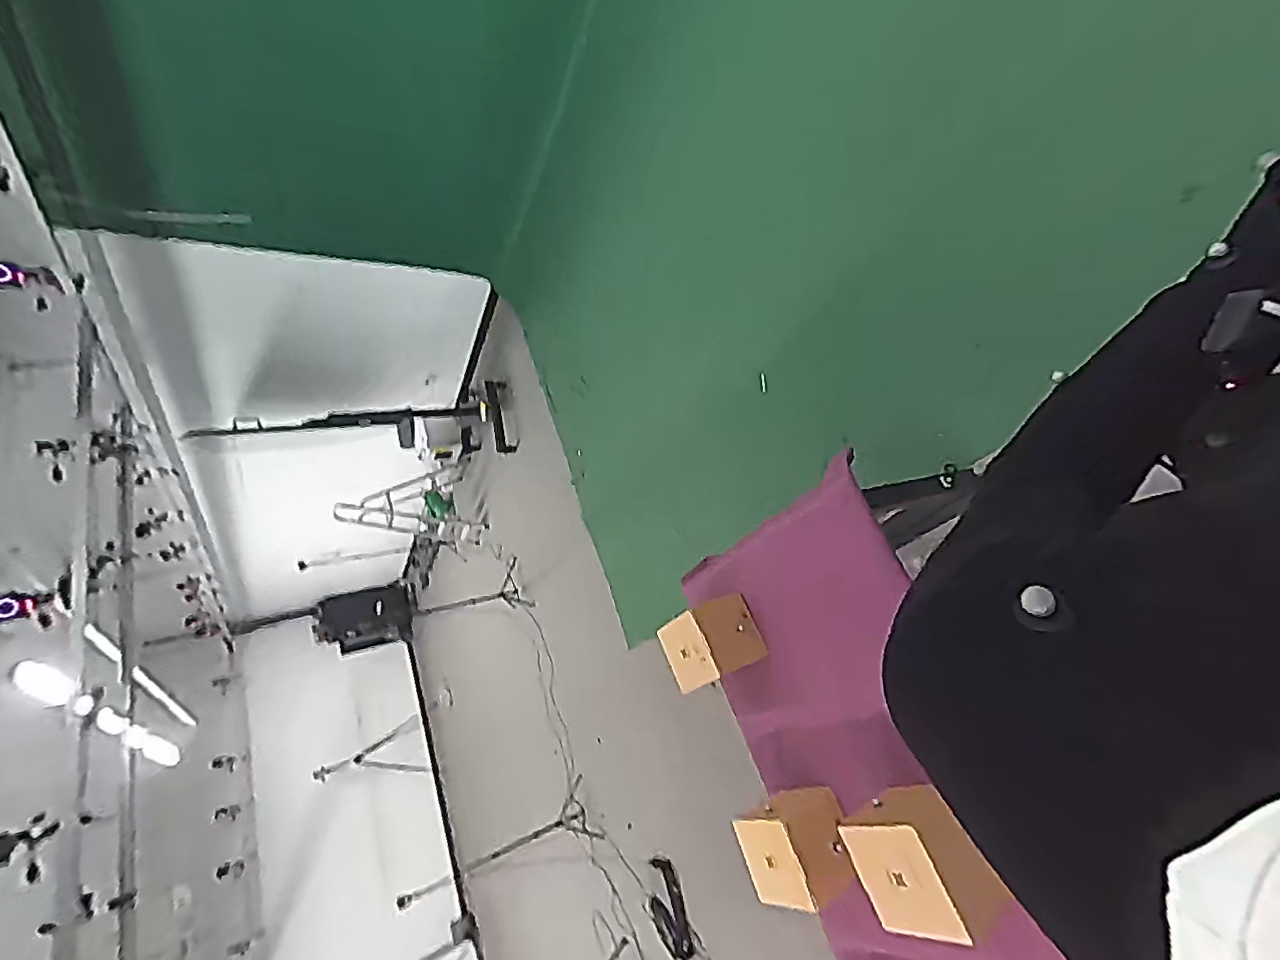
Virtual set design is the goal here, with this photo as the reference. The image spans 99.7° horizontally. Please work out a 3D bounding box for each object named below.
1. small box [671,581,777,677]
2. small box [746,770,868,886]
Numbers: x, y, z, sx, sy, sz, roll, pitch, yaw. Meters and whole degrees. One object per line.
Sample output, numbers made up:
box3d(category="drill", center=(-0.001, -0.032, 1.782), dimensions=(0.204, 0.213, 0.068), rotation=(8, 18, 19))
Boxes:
box3d(category="small box", center=(0.214, 0.378, 1.379), dimensions=(0.179, 0.176, 0.168), rotation=(-50, 58, 49))
box3d(category="small box", center=(0.377, 0.771, 1.214), dimensions=(0.179, 0.176, 0.168), rotation=(-45, 58, 49))
